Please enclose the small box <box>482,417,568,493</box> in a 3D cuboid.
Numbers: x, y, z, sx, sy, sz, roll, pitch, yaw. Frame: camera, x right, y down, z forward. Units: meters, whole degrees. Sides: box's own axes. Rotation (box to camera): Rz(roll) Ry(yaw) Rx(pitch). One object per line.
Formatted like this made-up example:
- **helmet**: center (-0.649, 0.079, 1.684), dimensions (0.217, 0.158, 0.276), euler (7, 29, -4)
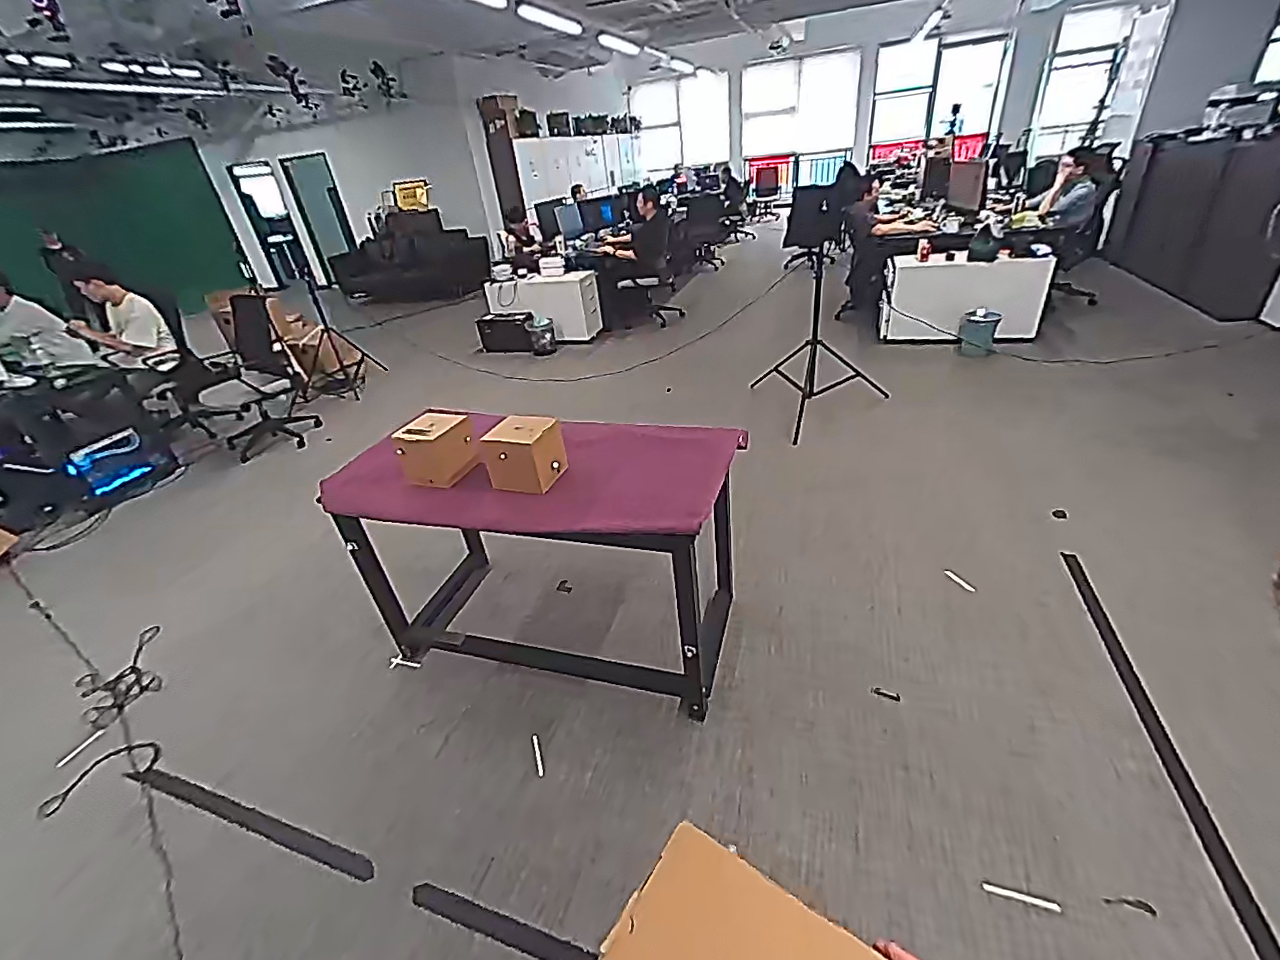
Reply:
- **small box**: center (-0.337, -0.074, 1.613), dimensions (0.179, 0.176, 0.168), euler (6, 34, 21)
